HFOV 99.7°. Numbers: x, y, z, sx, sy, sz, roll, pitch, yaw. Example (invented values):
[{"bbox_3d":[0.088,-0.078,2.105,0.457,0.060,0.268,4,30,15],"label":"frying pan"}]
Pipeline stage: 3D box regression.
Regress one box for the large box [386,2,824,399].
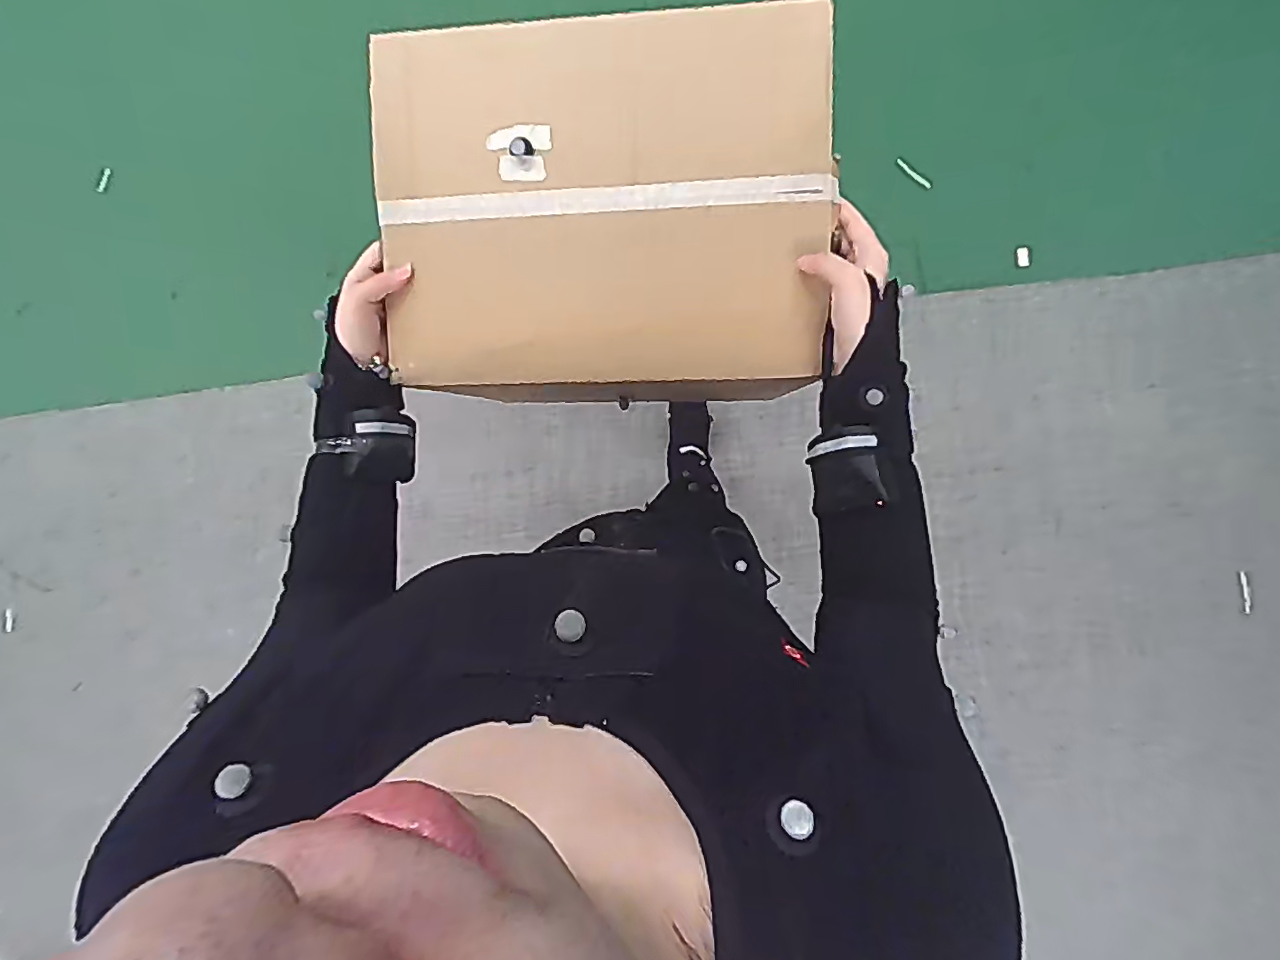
[{"bbox_3d":[-0.019,-0.264,0.642,0.408,0.320,0.320,-1,94,7],"label":"large box"}]
